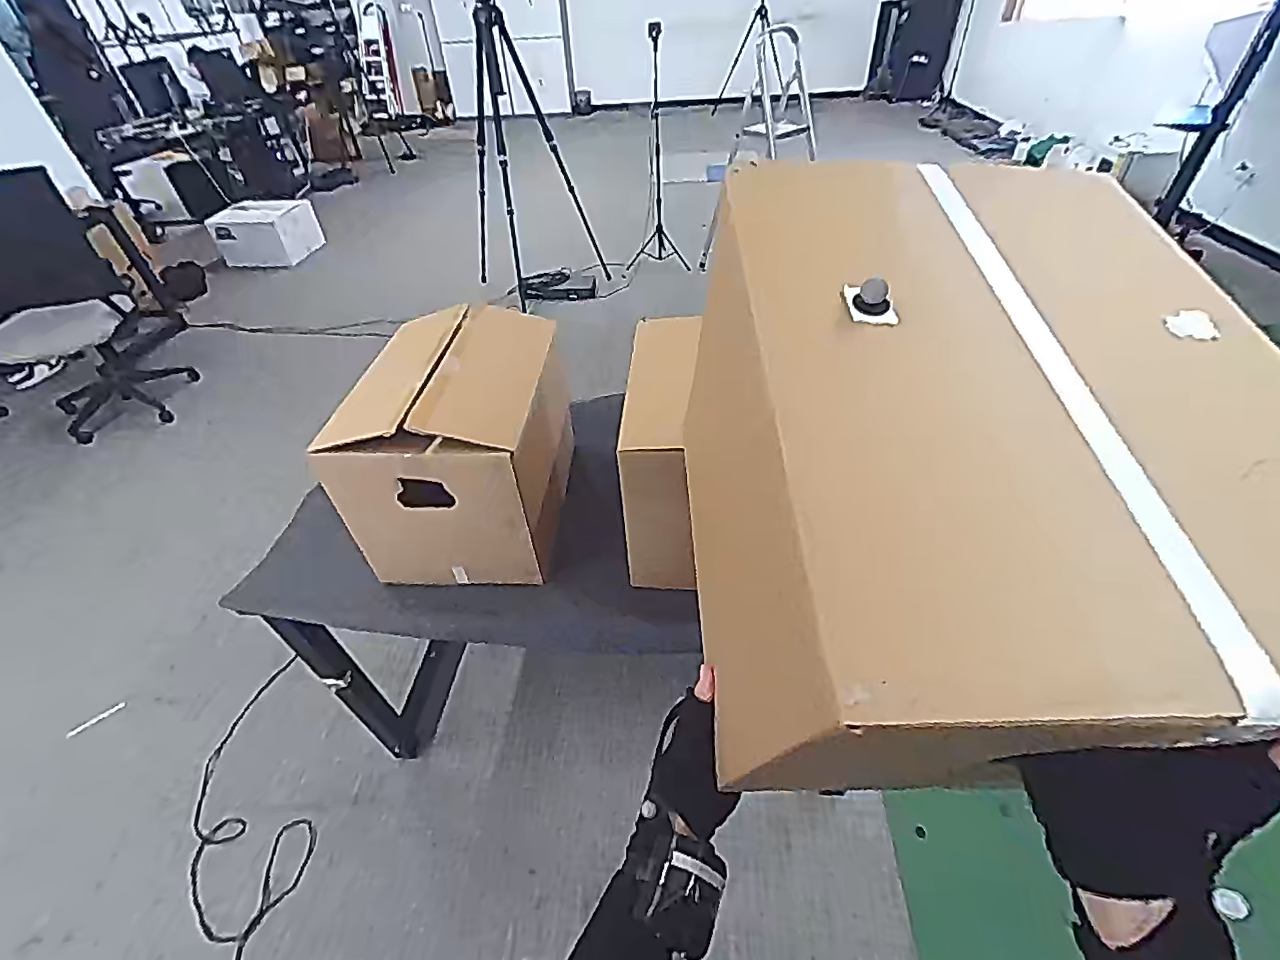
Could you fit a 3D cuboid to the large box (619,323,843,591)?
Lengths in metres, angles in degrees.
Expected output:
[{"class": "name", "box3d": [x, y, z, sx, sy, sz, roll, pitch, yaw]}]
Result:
[{"class": "large box", "box3d": [0.144, -0.050, 0.982, 0.320, 0.320, 0.408, 0, 41, 5]}]
